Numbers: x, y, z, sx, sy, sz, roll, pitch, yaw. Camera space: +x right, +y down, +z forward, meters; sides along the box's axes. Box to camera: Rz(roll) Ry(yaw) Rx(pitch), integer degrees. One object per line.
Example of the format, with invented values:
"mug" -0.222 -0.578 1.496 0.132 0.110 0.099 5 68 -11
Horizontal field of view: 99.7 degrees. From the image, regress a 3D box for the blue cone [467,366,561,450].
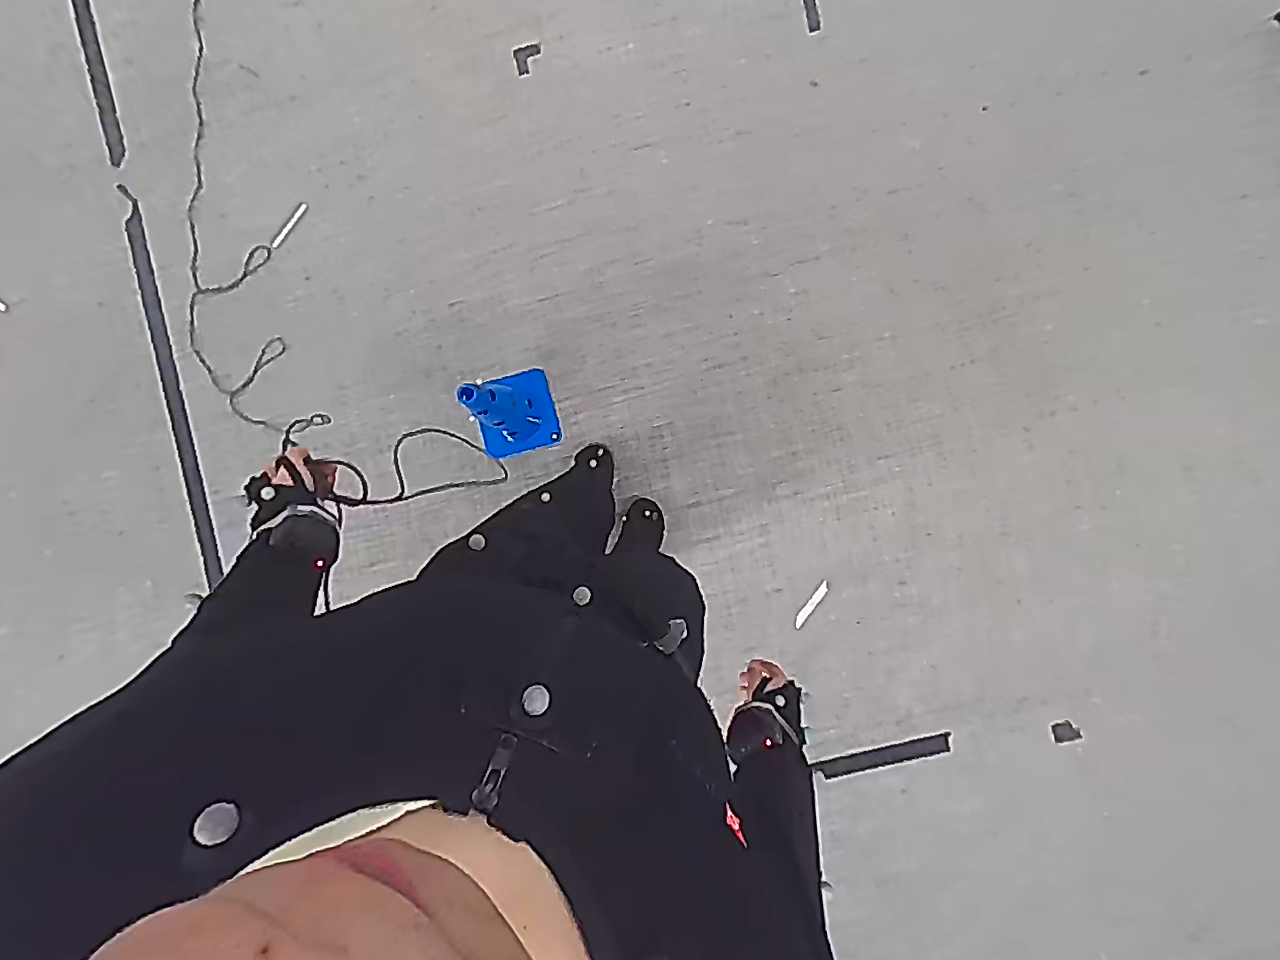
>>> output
"blue cone" -0.315 -0.179 1.211 0.192 0.380 0.193 -13 90 2
